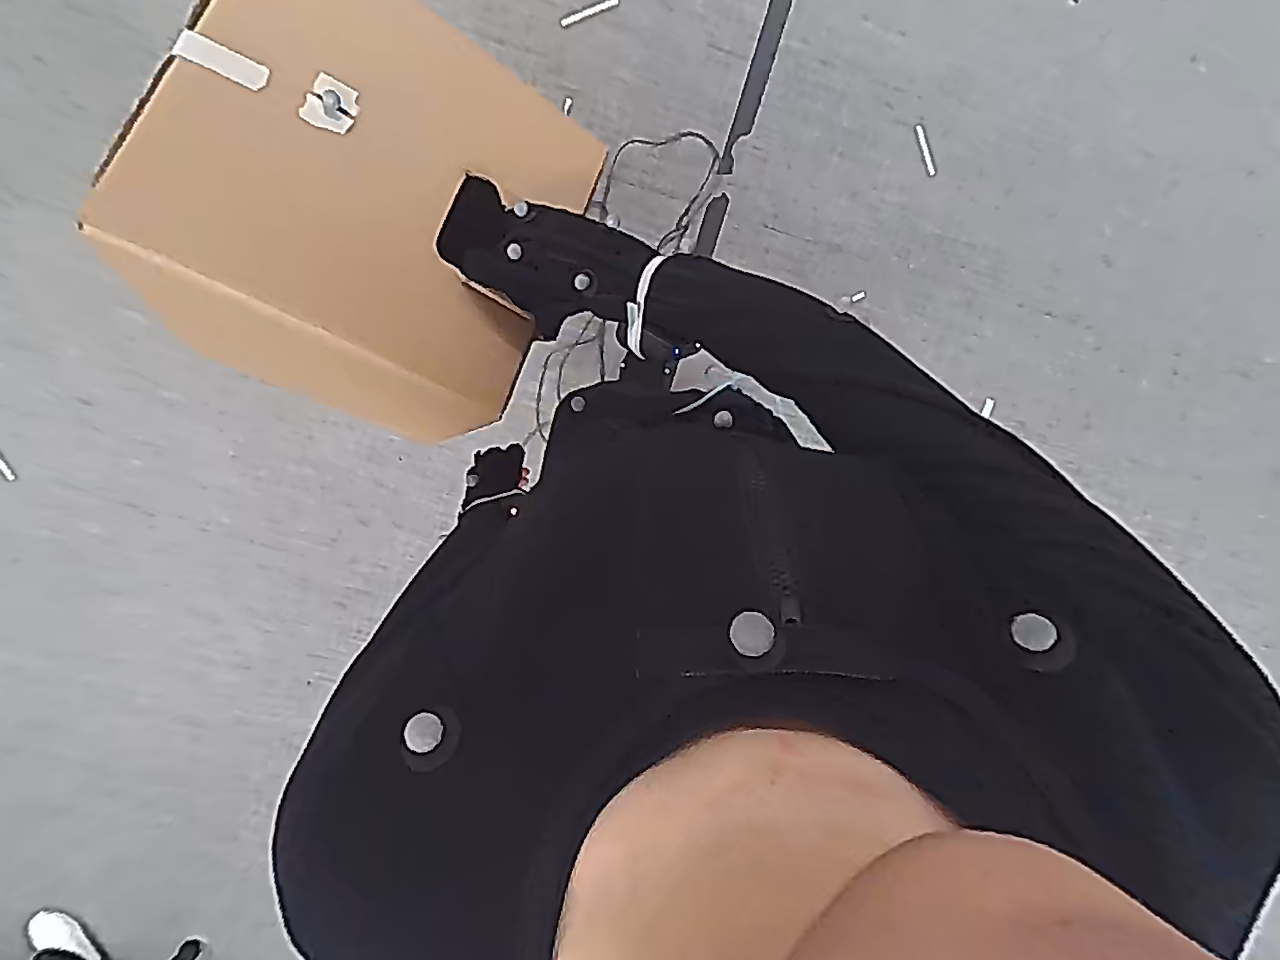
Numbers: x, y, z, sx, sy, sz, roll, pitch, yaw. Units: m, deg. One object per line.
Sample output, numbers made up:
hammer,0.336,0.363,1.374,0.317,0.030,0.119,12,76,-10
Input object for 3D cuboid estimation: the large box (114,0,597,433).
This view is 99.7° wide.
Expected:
large box,-0.310,-0.265,0.644,0.320,0.408,0.320,25,78,-29
